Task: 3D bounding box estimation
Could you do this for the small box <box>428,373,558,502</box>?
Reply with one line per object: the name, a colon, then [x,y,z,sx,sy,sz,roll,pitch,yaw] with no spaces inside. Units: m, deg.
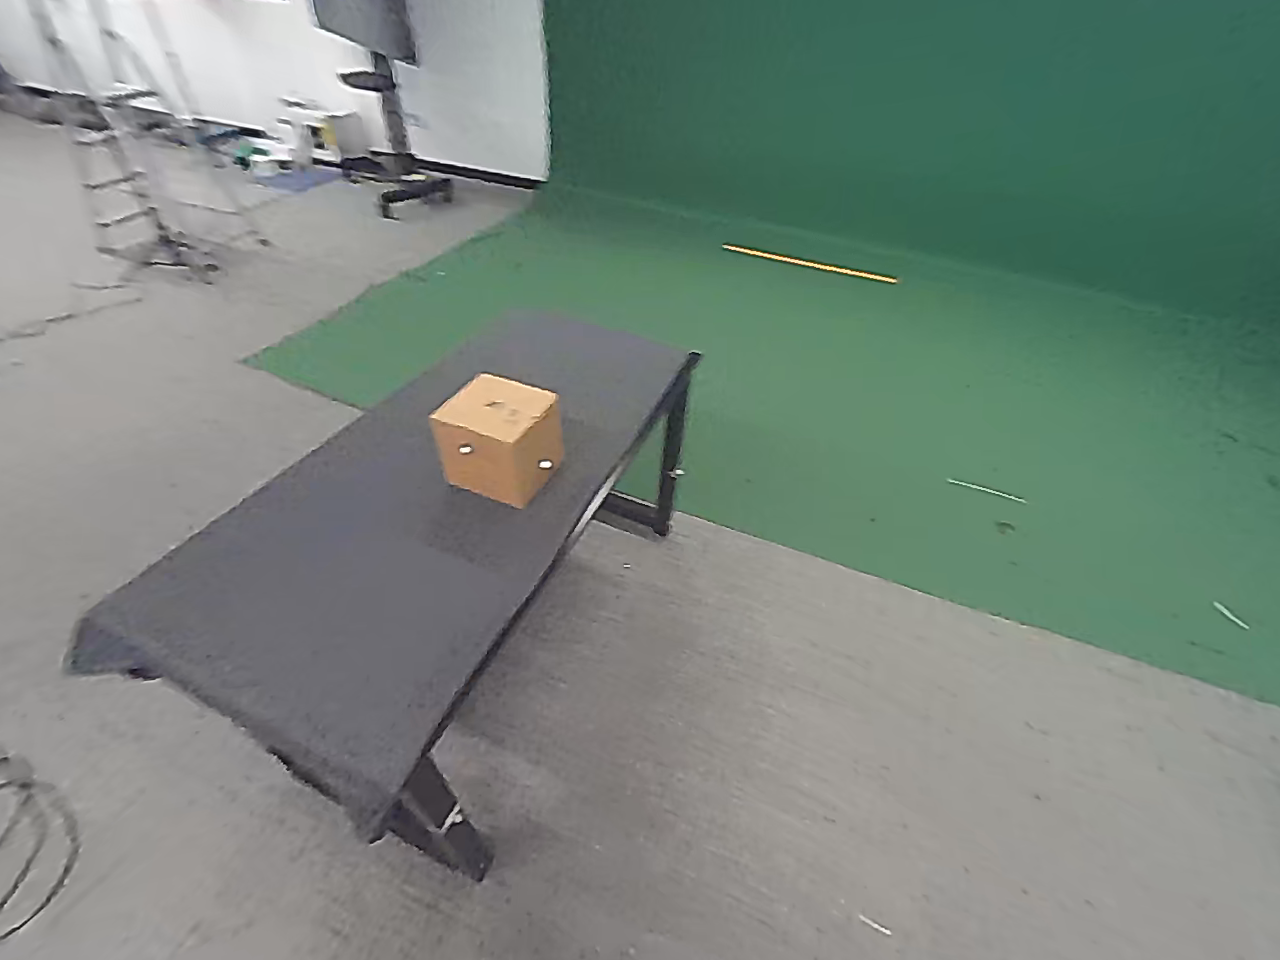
small box: [-0.277,-0.082,1.059,0.179,0.176,0.168,17,46,14]
